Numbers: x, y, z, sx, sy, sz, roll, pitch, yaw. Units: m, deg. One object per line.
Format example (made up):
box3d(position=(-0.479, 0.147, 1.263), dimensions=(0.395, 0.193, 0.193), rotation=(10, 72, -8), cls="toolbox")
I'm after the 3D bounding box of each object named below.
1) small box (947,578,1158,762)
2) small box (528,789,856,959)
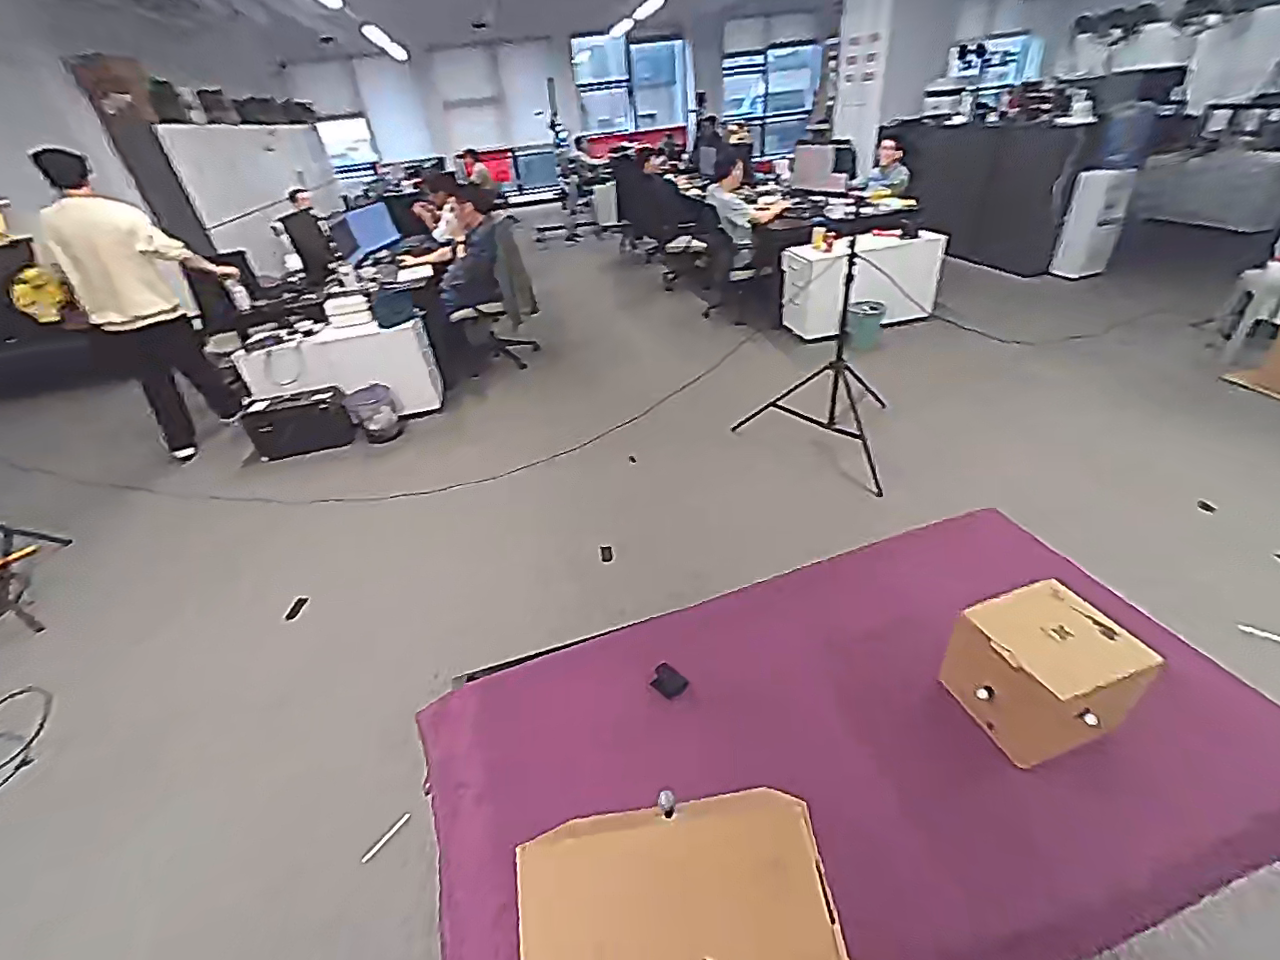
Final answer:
box3d(position=(0.590, 0.281, 0.804), dimensions=(0.179, 0.176, 0.168), rotation=(-16, 35, -11), cls="small box")
box3d(position=(0.036, 0.307, 0.352), dimensions=(0.179, 0.176, 0.168), rotation=(-10, 60, 0), cls="small box")
